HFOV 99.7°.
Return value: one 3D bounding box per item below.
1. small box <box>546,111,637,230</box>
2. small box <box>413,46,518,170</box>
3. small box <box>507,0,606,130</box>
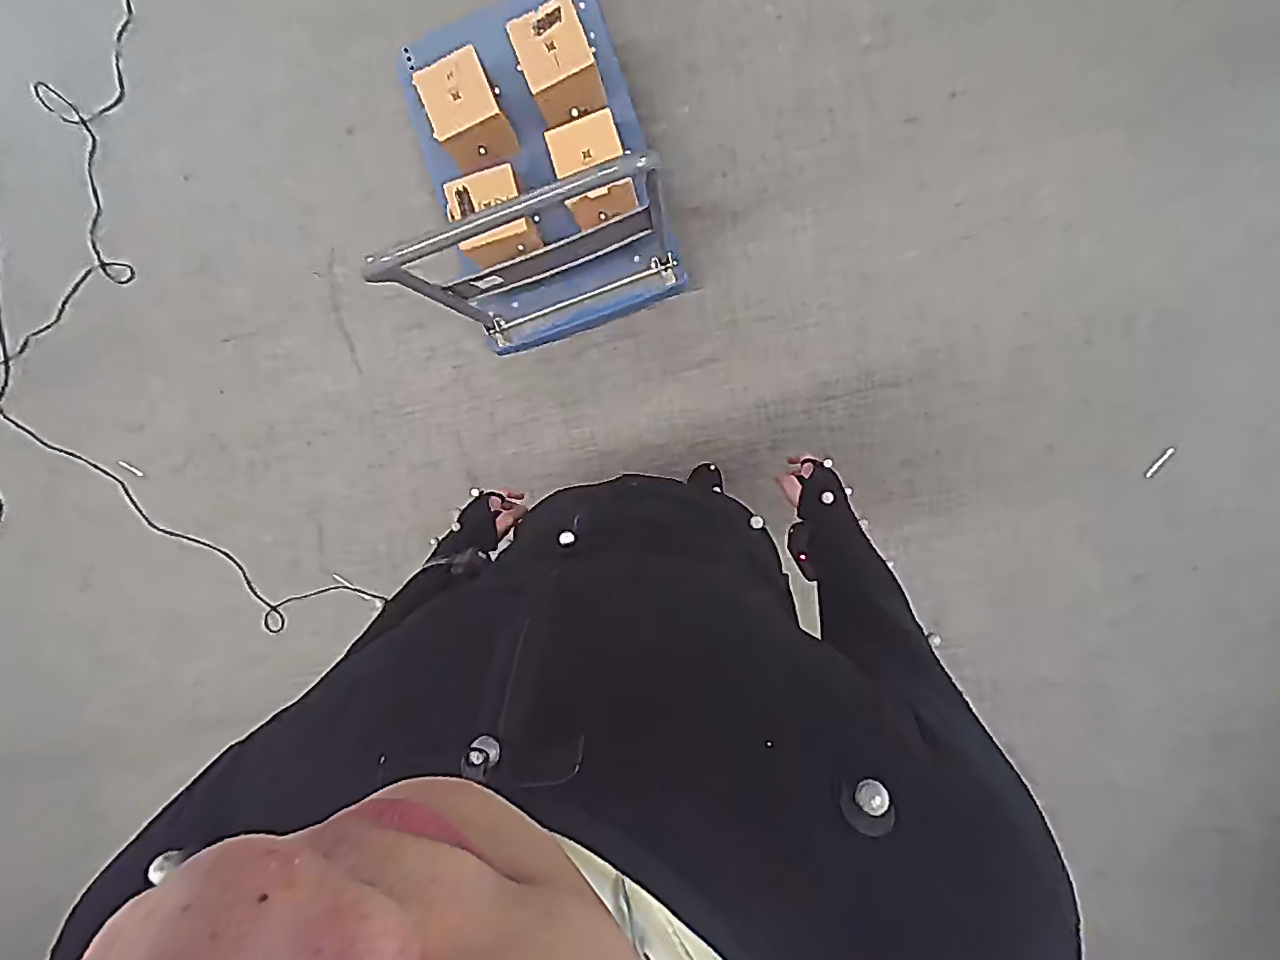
[{"bbox_3d":[-0.114,-0.756,1.339,0.168,0.176,0.179,-17,92,7],"label":"small box"},{"bbox_3d":[-0.429,-0.920,1.362,0.168,0.176,0.179,-21,91,7],"label":"small box"},{"bbox_3d":[-0.197,-1.013,1.328,0.168,0.176,0.179,-21,93,8],"label":"small box"}]
